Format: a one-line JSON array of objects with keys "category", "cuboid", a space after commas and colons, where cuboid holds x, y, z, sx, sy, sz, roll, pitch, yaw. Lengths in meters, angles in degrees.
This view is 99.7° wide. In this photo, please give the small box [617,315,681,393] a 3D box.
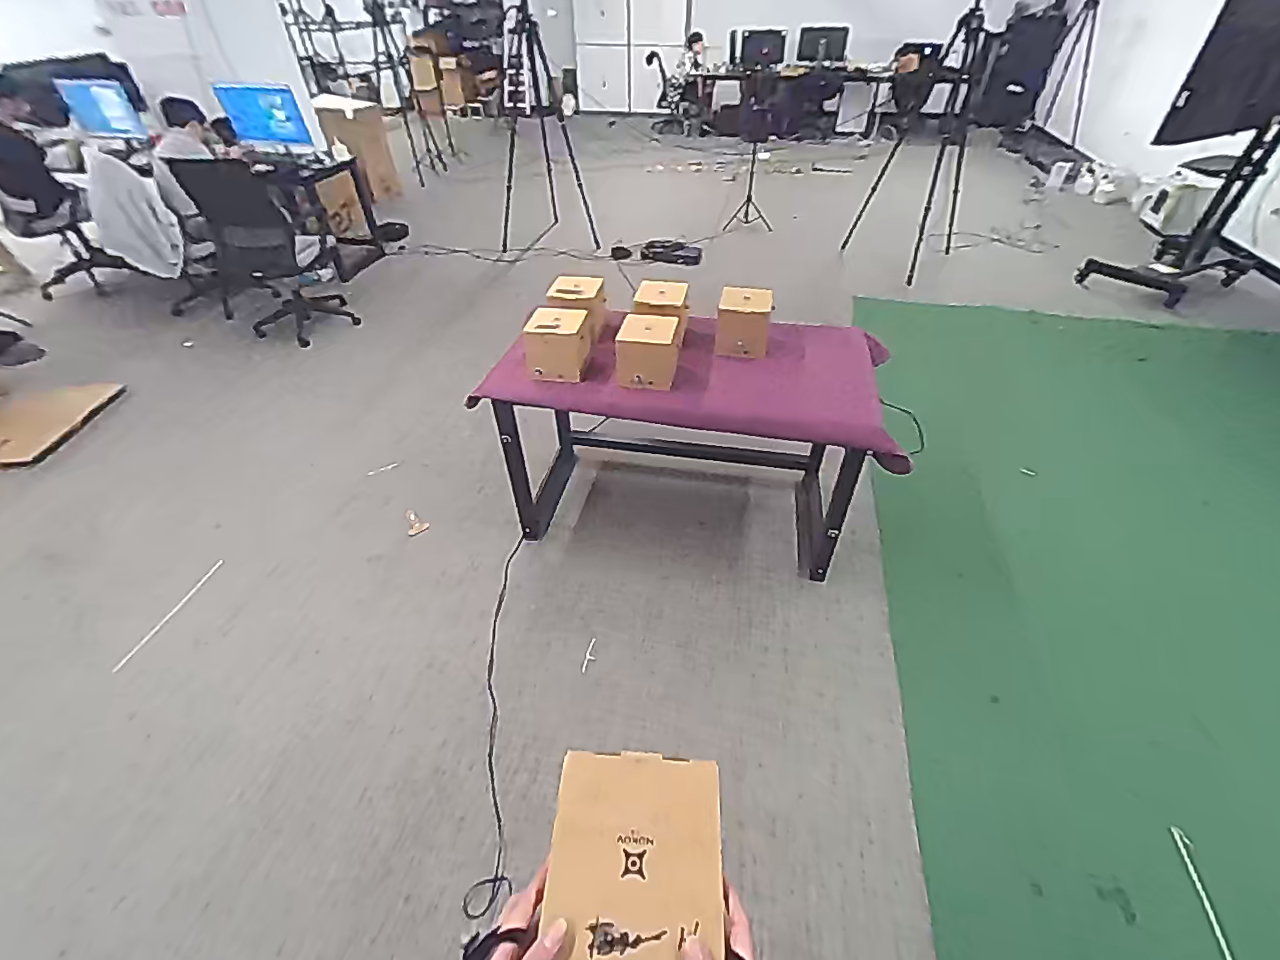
[{"category": "small box", "cuboid": [0.031, -0.394, 1.687, 0.168, 0.176, 0.179, 6, 43, 10]}]

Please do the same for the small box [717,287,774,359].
[{"category": "small box", "cuboid": [0.354, -0.529, 1.818, 0.168, 0.176, 0.179, 7, 44, 11]}]

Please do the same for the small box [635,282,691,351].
[{"category": "small box", "cuboid": [0.080, -0.567, 1.875, 0.168, 0.176, 0.179, 7, 44, 9]}]

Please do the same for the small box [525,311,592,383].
[{"category": "small box", "cuboid": [-0.251, -0.424, 1.727, 0.168, 0.176, 0.179, 5, 41, 7]}]
